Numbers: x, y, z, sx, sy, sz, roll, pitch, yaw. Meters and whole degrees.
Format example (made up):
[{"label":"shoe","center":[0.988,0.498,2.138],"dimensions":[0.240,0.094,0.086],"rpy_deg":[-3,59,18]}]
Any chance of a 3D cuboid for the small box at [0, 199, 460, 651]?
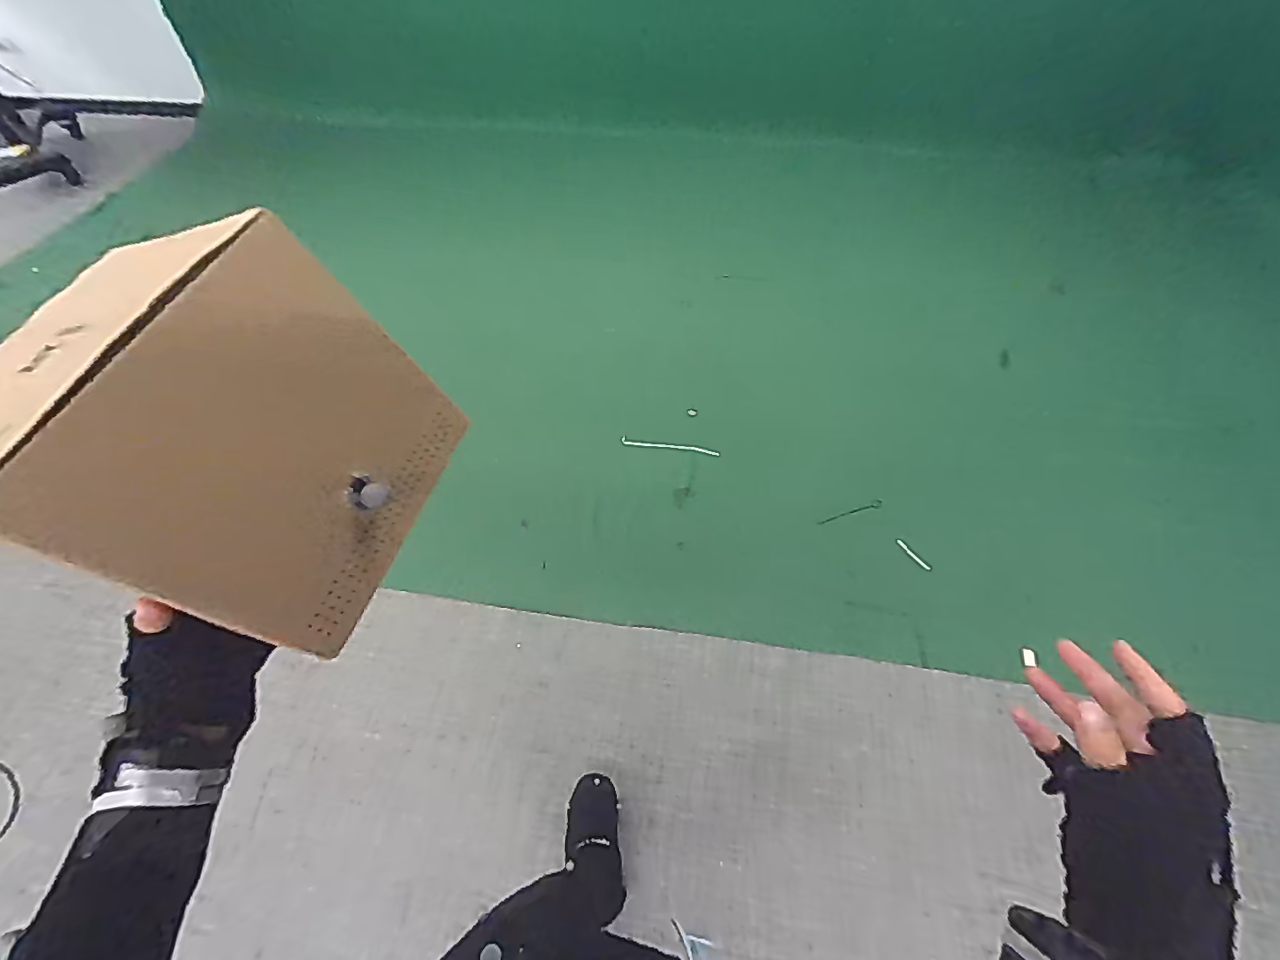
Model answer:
[{"label":"small box","center":[-0.237,-0.025,0.316],"dimensions":[0.168,0.176,0.179],"rpy_deg":[5,58,29]}]
